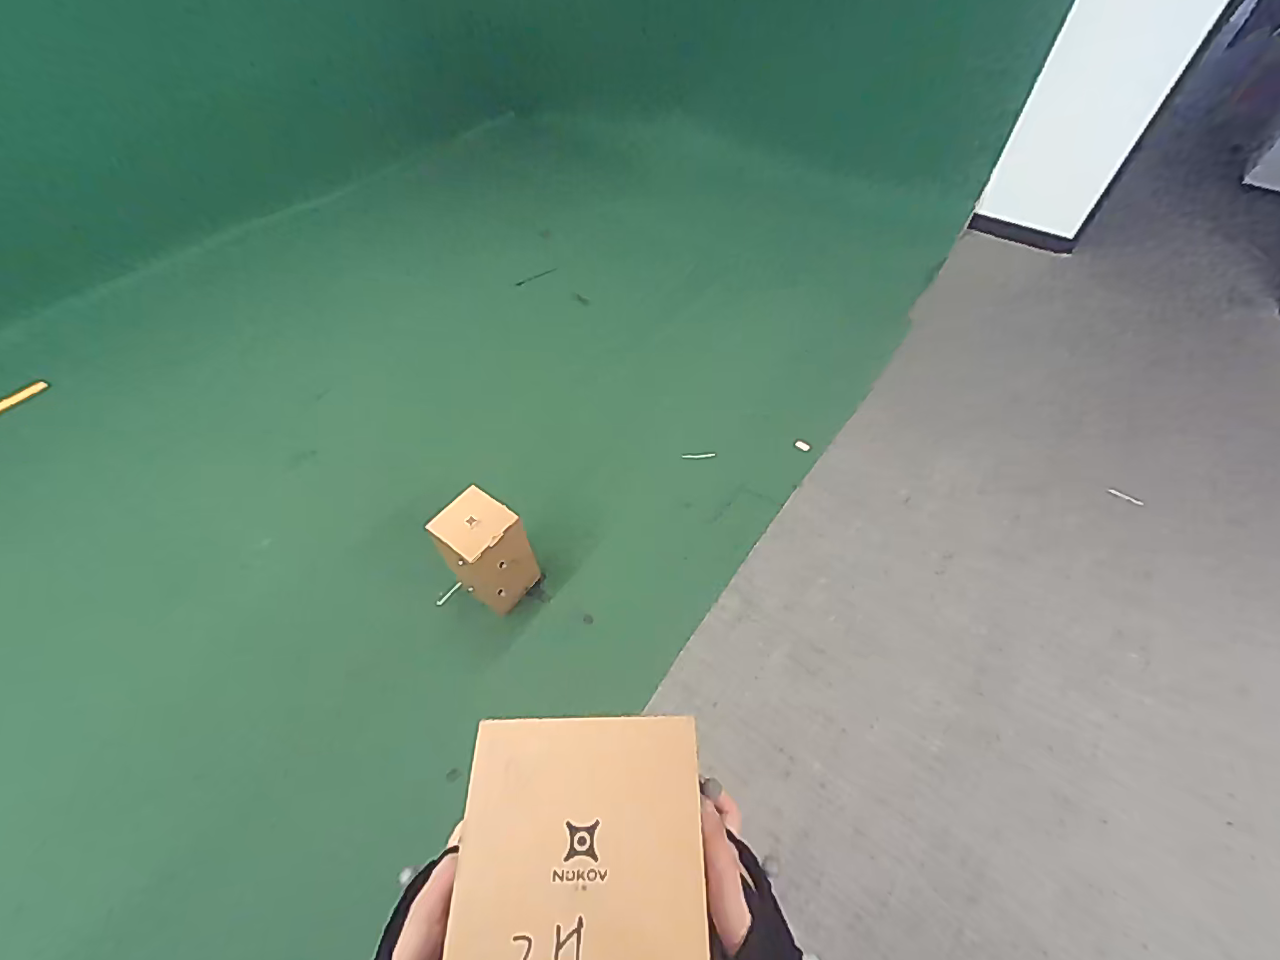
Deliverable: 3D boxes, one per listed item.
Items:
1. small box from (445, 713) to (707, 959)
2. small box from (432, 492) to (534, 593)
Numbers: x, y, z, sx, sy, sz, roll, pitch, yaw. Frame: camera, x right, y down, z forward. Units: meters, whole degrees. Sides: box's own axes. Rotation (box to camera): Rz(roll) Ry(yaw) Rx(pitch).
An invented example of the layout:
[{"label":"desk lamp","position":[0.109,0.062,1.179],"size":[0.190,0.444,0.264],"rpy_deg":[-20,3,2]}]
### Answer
[{"label":"small box","position":[-0.034,0.300,0.431],"size":[0.168,0.176,0.179],"rpy_deg":[-4,54,4]},{"label":"small box","position":[-0.409,0.171,1.435],"size":[0.179,0.176,0.168],"rpy_deg":[29,59,22]}]
